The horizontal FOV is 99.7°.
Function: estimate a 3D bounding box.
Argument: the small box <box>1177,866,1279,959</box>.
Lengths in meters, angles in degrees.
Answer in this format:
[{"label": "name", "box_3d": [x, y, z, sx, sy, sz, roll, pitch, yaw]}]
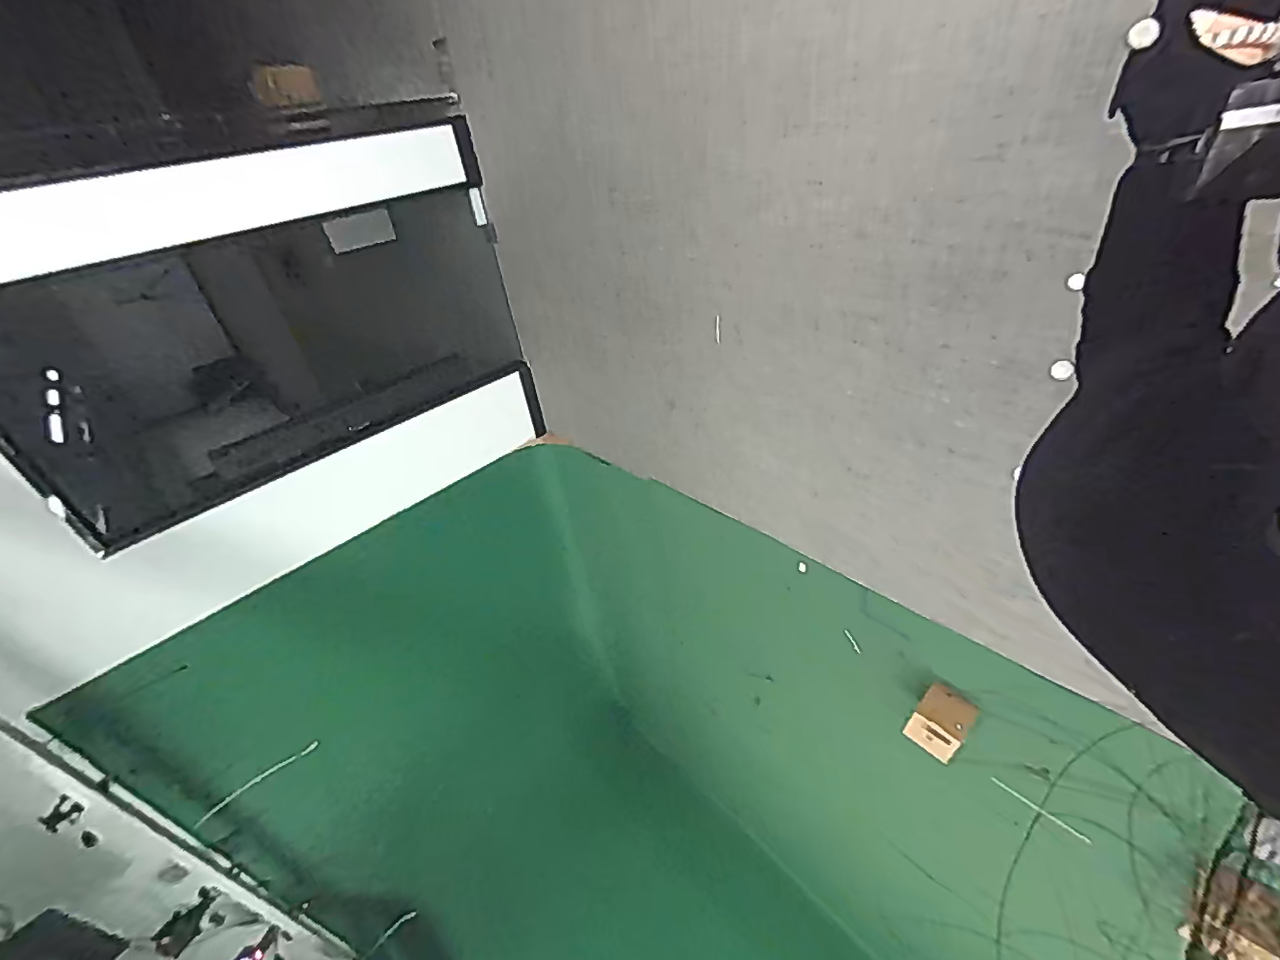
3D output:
[{"label": "small box", "box_3d": [1.689, 1.245, 1.535, 0.179, 0.176, 0.168, 24, 136, 40]}]
